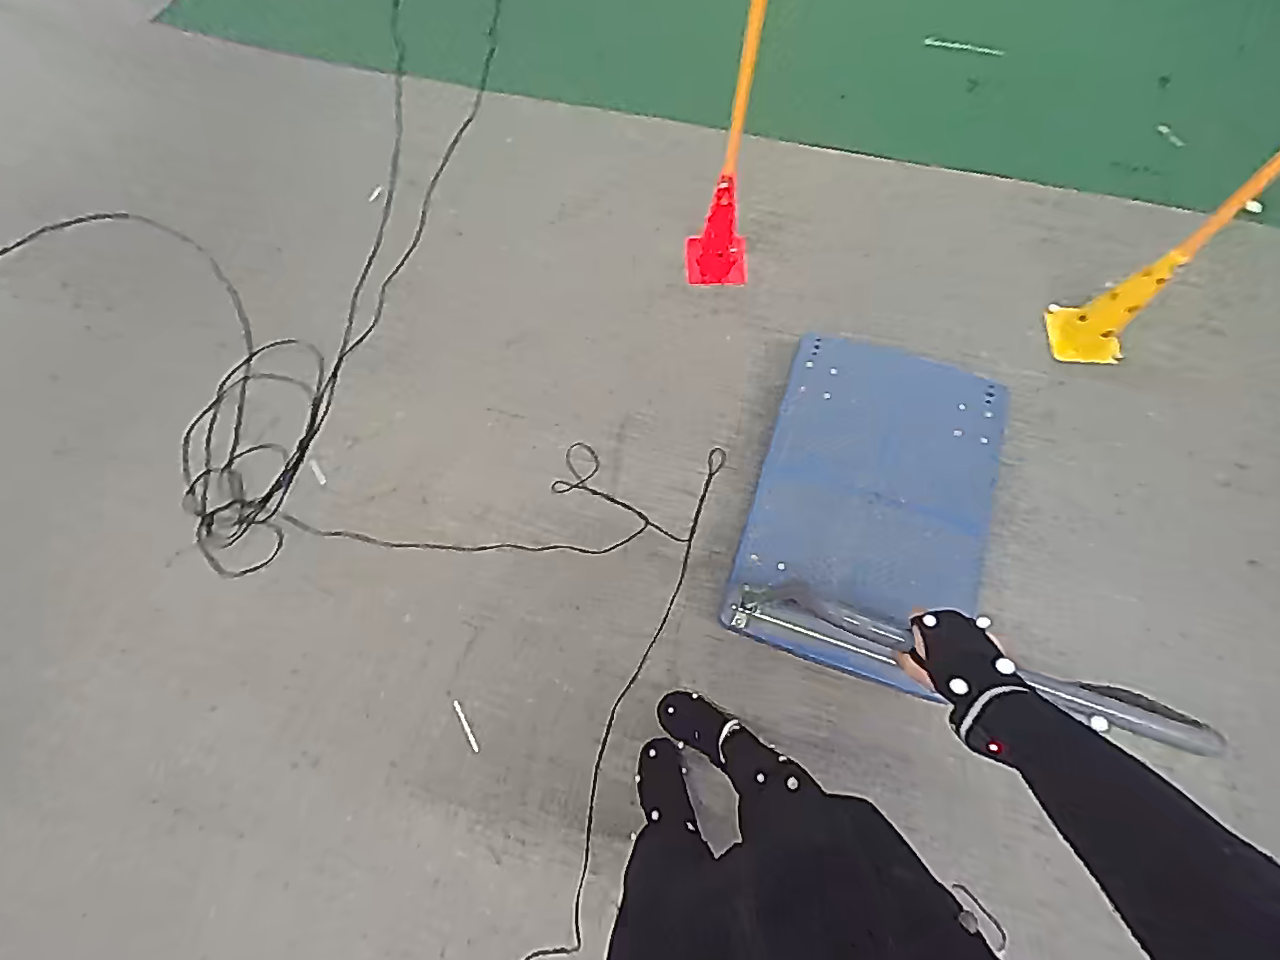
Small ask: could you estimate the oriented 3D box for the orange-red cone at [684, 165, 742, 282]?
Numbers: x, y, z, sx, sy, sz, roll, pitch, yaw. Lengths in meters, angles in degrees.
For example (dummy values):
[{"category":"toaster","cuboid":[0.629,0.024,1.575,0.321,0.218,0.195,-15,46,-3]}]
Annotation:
[{"category":"orange-red cone","cuboid":[0.240,-0.814,1.685,0.199,0.360,0.198,0,71,3]}]
